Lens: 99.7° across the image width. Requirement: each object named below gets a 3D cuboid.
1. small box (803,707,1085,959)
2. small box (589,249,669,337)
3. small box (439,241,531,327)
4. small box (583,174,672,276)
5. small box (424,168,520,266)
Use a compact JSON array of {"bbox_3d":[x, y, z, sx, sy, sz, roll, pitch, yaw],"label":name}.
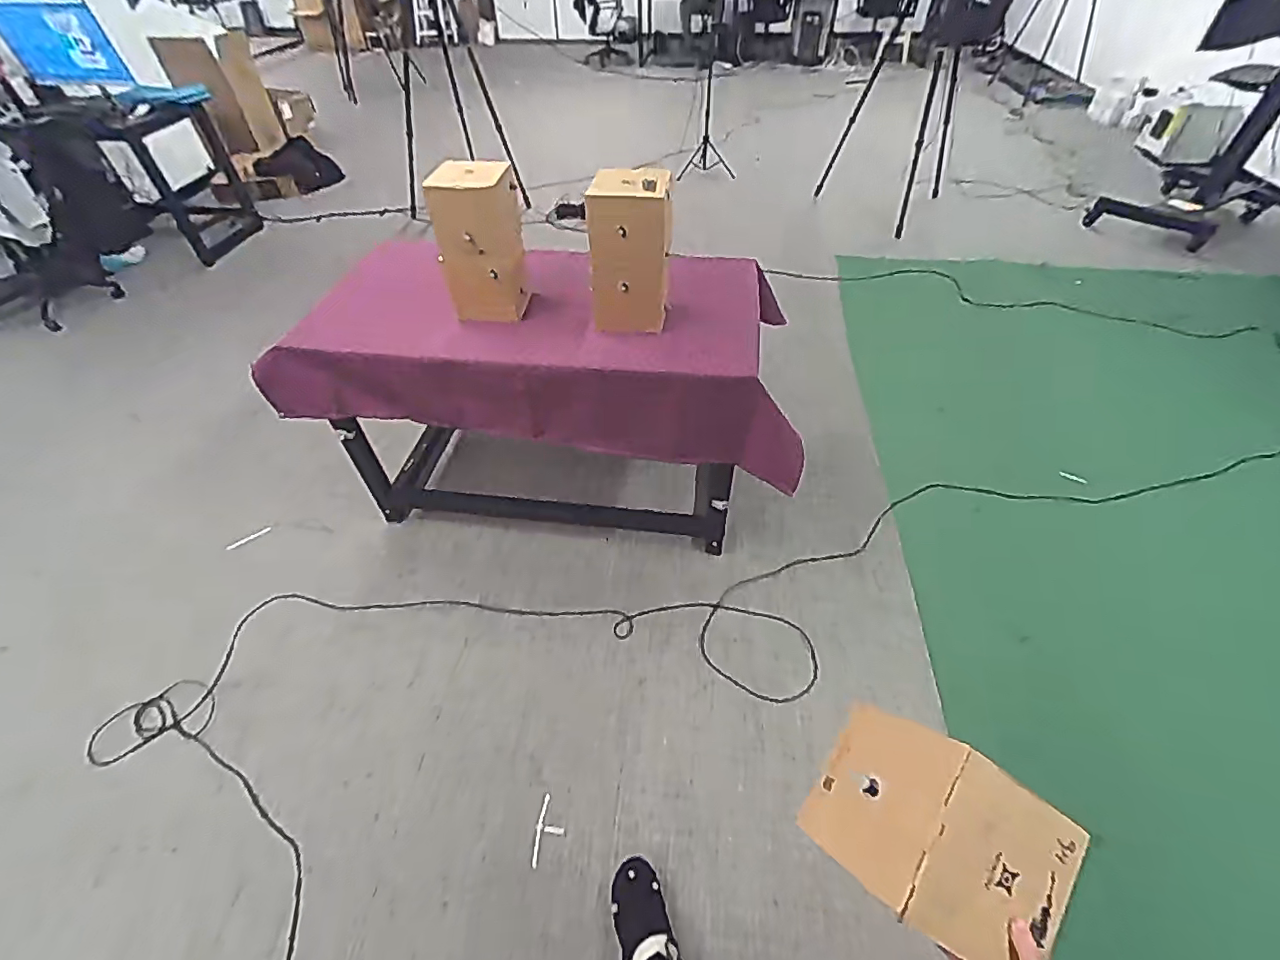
[{"bbox_3d":[0.314,0.372,0.587,0.179,0.176,0.168,37,75,-9],"label":"small box"},{"bbox_3d":[-0.022,-0.480,1.379,0.179,0.176,0.168,6,48,6],"label":"small box"},{"bbox_3d":[-0.401,-0.520,1.430,0.179,0.176,0.168,2,47,3],"label":"small box"},{"bbox_3d":[-0.022,-0.591,1.258,0.179,0.176,0.168,5,48,7],"label":"small box"},{"bbox_3d":[-0.398,-0.641,1.317,0.168,0.176,0.179,2,47,3],"label":"small box"}]
